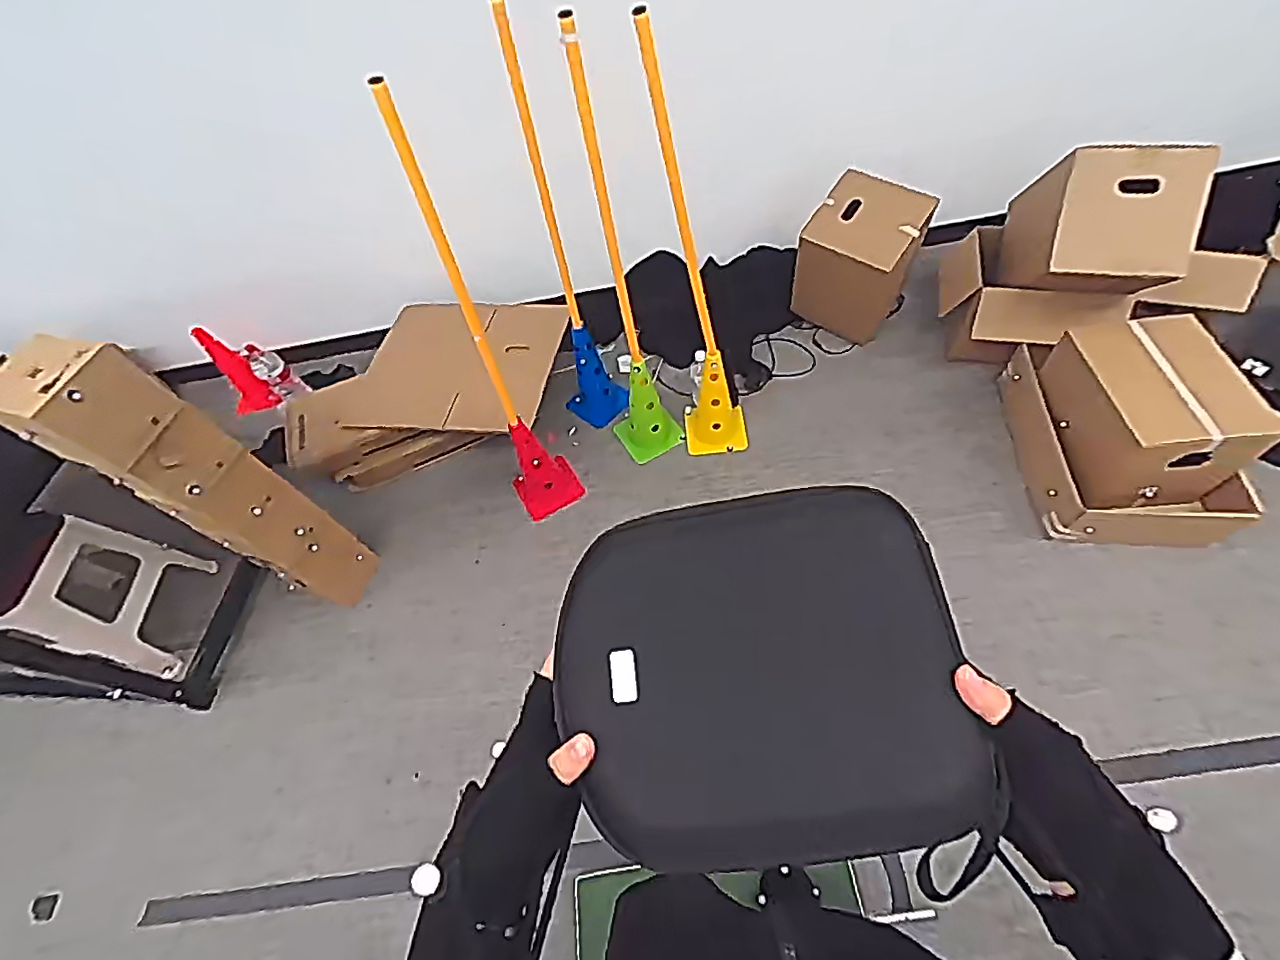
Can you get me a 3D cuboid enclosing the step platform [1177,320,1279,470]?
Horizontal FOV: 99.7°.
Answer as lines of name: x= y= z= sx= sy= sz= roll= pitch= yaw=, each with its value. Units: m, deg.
step platform: x=1.971 y=-0.328 z=1.597 sx=0.684 sy=0.204 sz=0.286 roll=-35 pitch=59 yaw=-13
